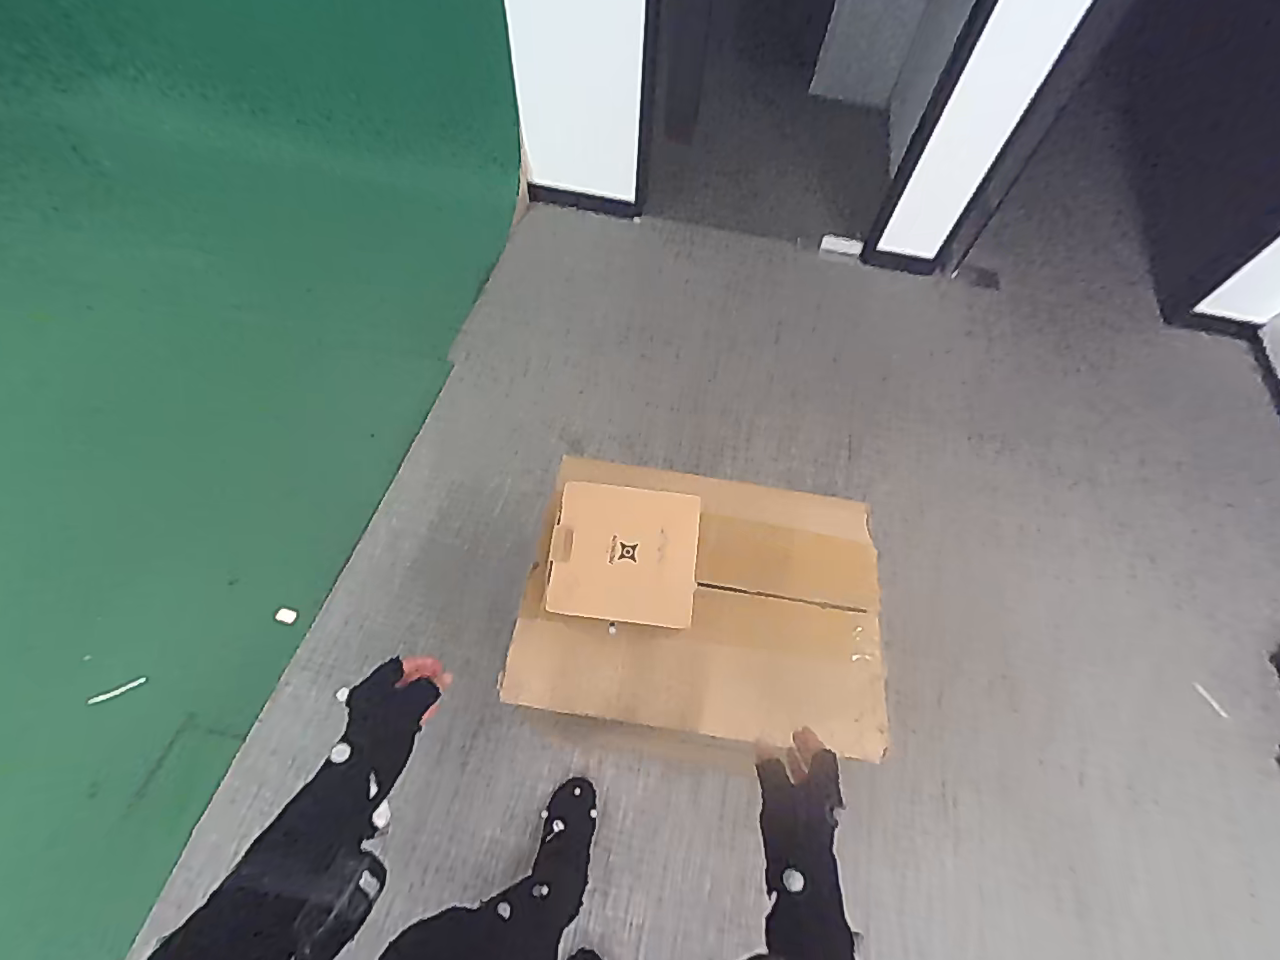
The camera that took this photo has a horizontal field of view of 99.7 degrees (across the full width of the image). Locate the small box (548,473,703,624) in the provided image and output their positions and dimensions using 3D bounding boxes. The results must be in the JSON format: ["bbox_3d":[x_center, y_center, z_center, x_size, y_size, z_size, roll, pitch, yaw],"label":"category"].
[{"bbox_3d":[-0.018,0.102,0.737,0.179,0.176,0.168,7,72,-1],"label":"small box"}]
